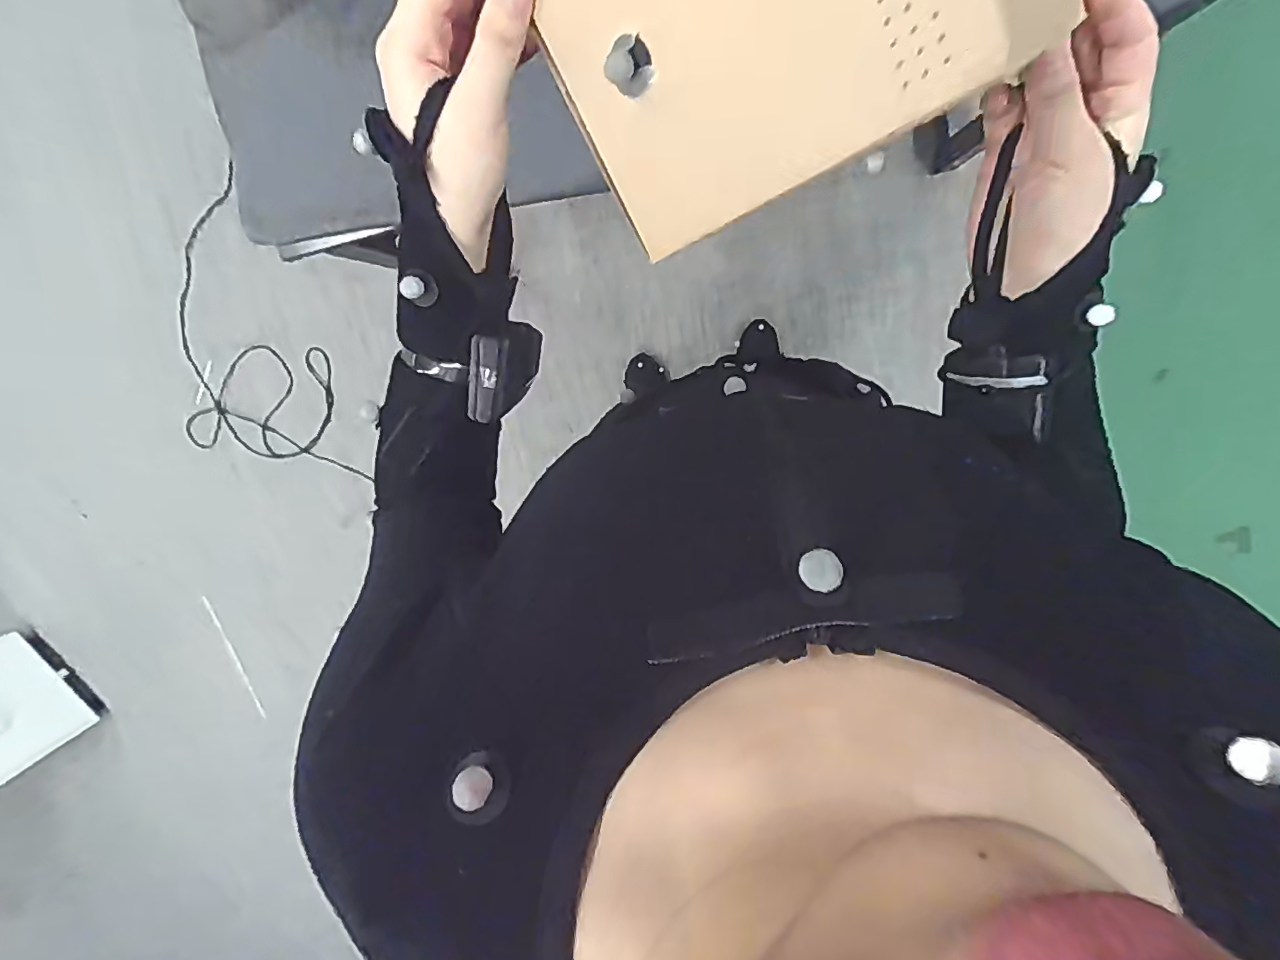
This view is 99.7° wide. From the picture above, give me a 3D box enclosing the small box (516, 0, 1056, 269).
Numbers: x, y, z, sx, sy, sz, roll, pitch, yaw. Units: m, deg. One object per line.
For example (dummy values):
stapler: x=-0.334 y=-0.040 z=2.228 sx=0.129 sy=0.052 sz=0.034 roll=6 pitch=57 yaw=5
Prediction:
small box: x=0.068 y=-0.233 z=0.243 sx=0.176 sy=0.168 sz=0.179 roll=-2 pitch=125 yaw=50
